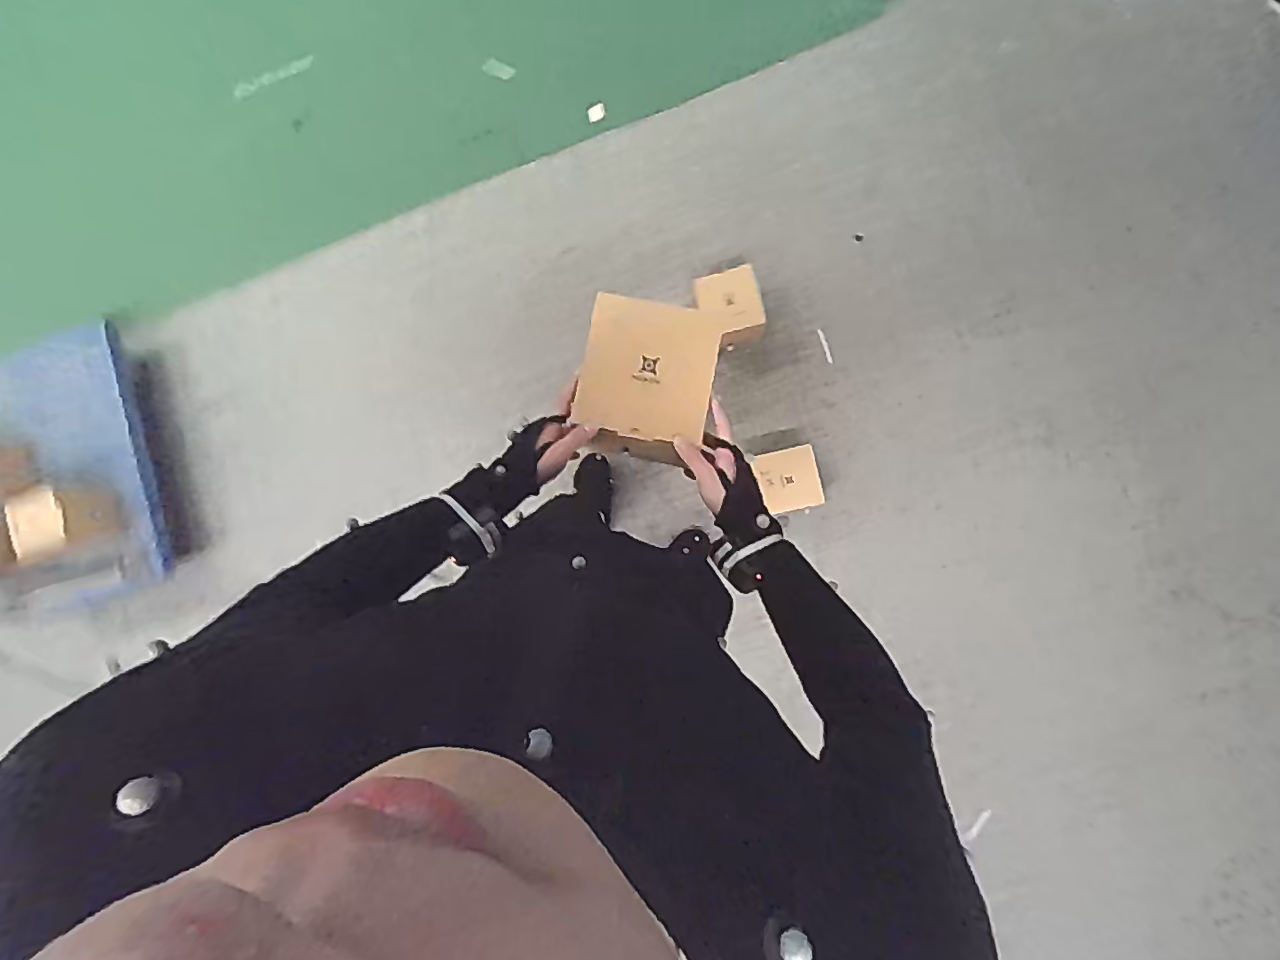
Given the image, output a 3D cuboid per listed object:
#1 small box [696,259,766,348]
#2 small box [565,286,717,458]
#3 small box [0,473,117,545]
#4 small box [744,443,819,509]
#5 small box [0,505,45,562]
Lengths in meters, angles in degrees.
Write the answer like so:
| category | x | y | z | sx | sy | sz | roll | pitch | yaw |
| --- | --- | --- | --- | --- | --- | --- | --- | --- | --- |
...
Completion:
| category | x | y | z | sx | sy | sz | roll | pitch | yaw |
| --- | --- | --- | --- | --- | --- | --- | --- | --- | --- |
| small box | 0.257 | -0.501 | 1.552 | 0.168 | 0.176 | 0.179 | -12 | 87 | 7 |
| small box | 0.000 | -0.137 | 0.744 | 0.168 | 0.176 | 0.179 | 10 | 85 | 0 |
| small box | -1.709 | 0.082 | 1.600 | 0.179 | 0.176 | 0.168 | -19 | 86 | 6 |
| small box | 0.391 | -0.009 | 1.518 | 0.179 | 0.176 | 0.168 | -6 | 86 | 8 |
| small box | -1.958 | 0.158 | 1.629 | 0.179 | 0.176 | 0.168 | -15 | 87 | 7 |
